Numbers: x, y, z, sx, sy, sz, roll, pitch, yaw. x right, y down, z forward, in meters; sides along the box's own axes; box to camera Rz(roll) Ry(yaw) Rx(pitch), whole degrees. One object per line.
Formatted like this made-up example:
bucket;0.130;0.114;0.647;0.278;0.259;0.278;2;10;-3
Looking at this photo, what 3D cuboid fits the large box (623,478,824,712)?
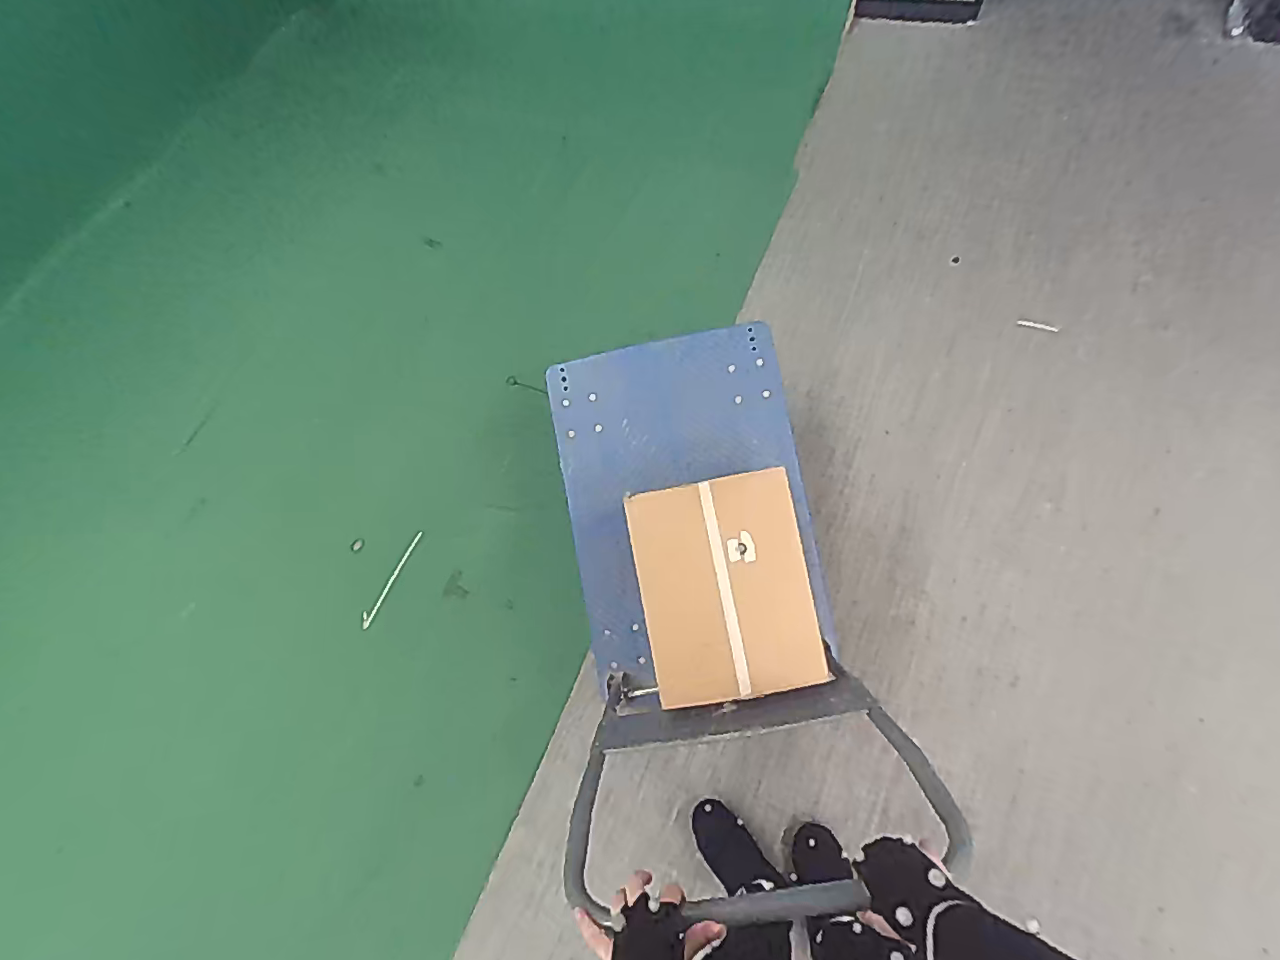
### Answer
large box;0.169;0.230;1.174;0.320;0.320;0.408;-11;84;4
